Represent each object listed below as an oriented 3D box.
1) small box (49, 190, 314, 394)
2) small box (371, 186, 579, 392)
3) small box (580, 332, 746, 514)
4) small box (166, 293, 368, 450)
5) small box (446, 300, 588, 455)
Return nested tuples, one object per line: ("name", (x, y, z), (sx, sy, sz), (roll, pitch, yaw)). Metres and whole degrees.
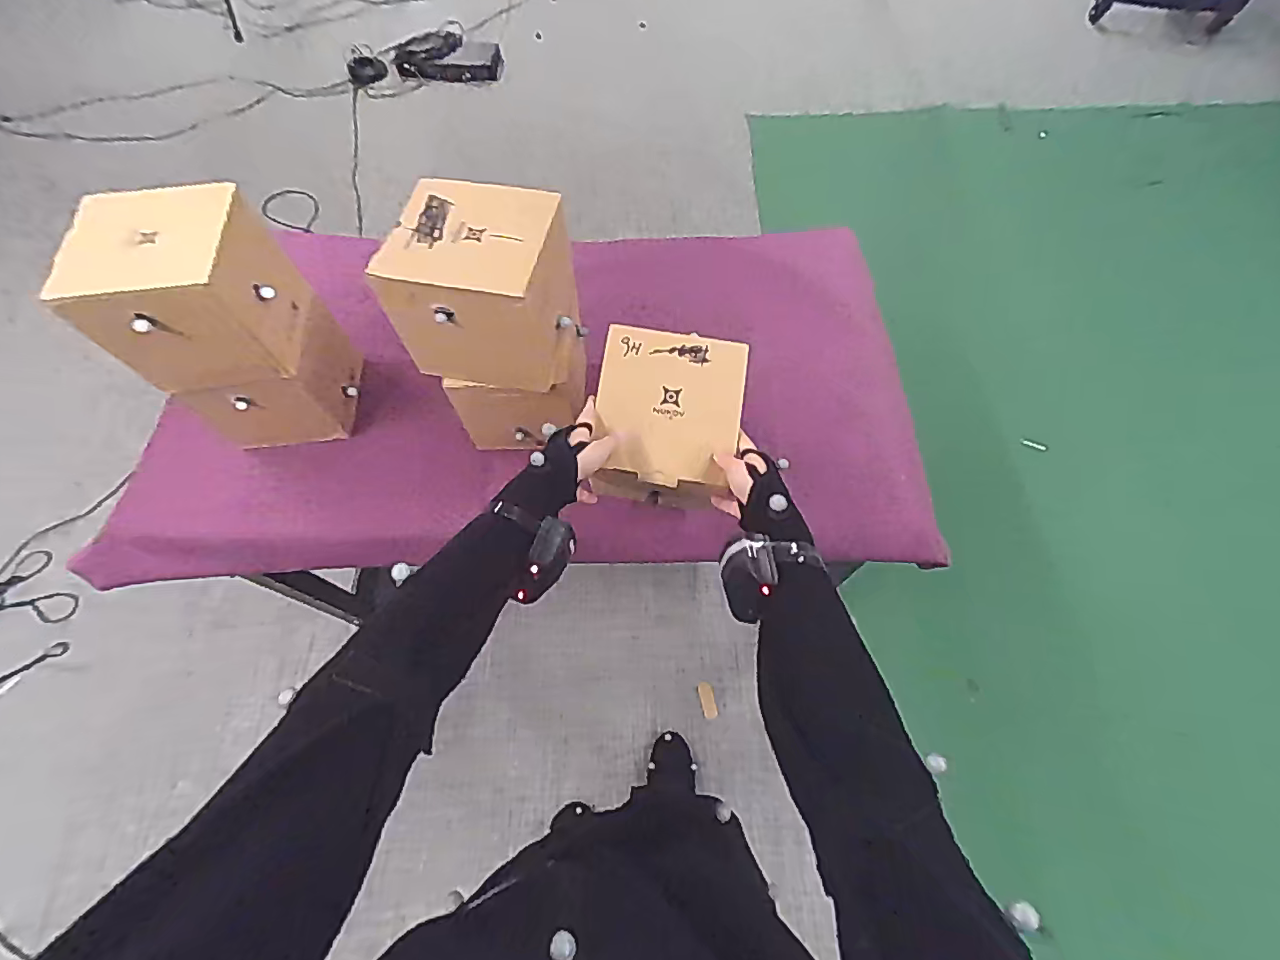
("small box", (-0.546, -0.228, 0.679), (0.179, 0.176, 0.168), (-8, 64, -2))
("small box", (-0.185, -0.229, 0.669), (0.179, 0.176, 0.168), (10, 63, 6))
("small box", (0.028, -0.060, 0.683), (0.168, 0.176, 0.179), (9, 78, 1))
("small box", (-0.549, -0.157, 0.825), (0.179, 0.176, 0.168), (-5, 63, -2))
("small box", (-0.172, -0.155, 0.816), (0.168, 0.176, 0.179), (0, 63, 1))
